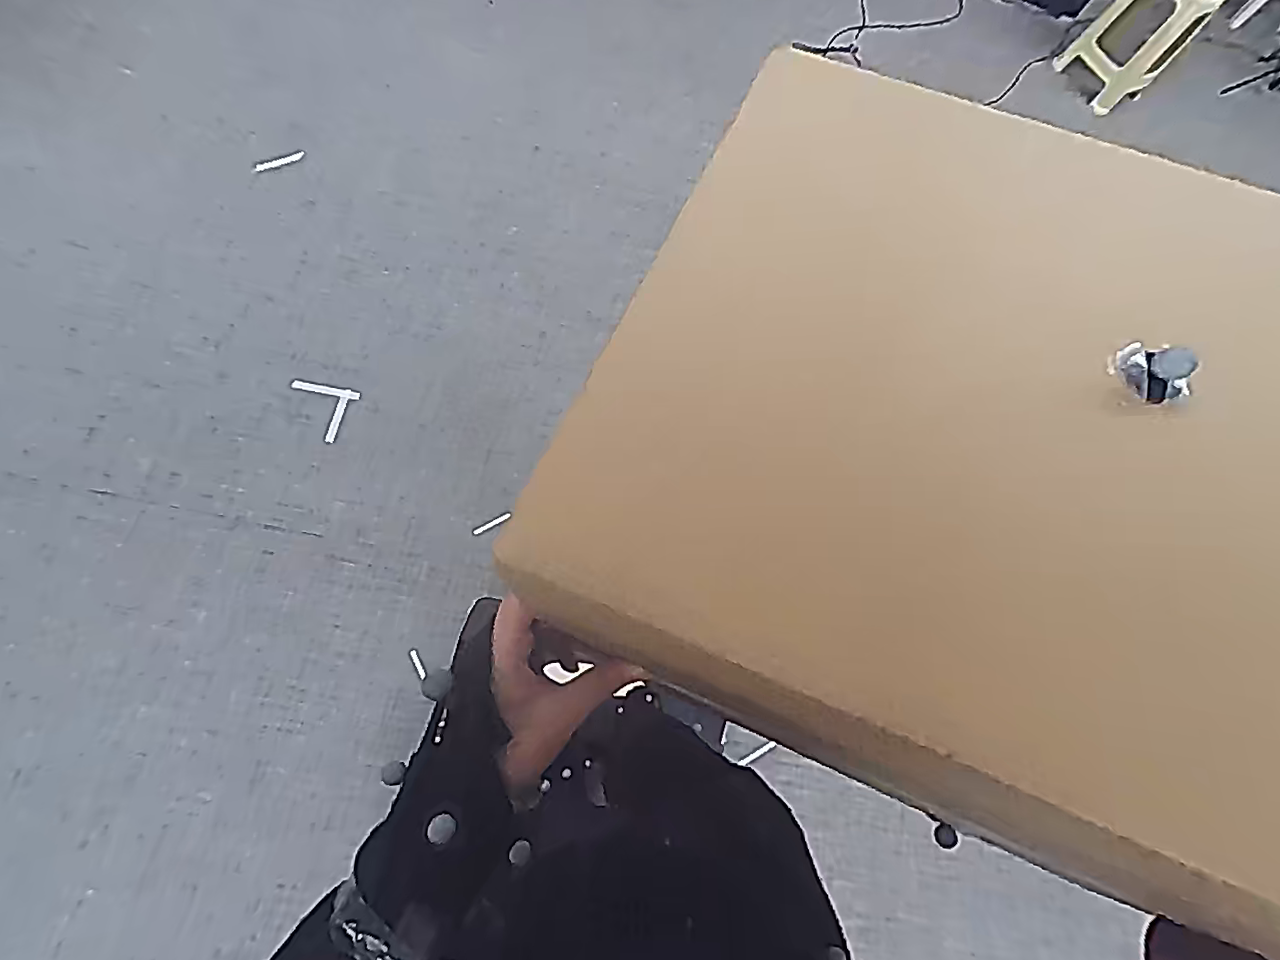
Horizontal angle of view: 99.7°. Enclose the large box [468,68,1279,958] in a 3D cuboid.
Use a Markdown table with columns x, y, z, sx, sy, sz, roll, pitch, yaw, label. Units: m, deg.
| x | y | z | sx | sy | sz | roll | pitch | yaw | label |
| --- | --- | --- | --- | --- | --- | --- | --- | --- | --- |
| 0.176 | 0.024 | 0.346 | 0.408 | 0.320 | 0.320 | 20 | 70 | 8 | large box |
